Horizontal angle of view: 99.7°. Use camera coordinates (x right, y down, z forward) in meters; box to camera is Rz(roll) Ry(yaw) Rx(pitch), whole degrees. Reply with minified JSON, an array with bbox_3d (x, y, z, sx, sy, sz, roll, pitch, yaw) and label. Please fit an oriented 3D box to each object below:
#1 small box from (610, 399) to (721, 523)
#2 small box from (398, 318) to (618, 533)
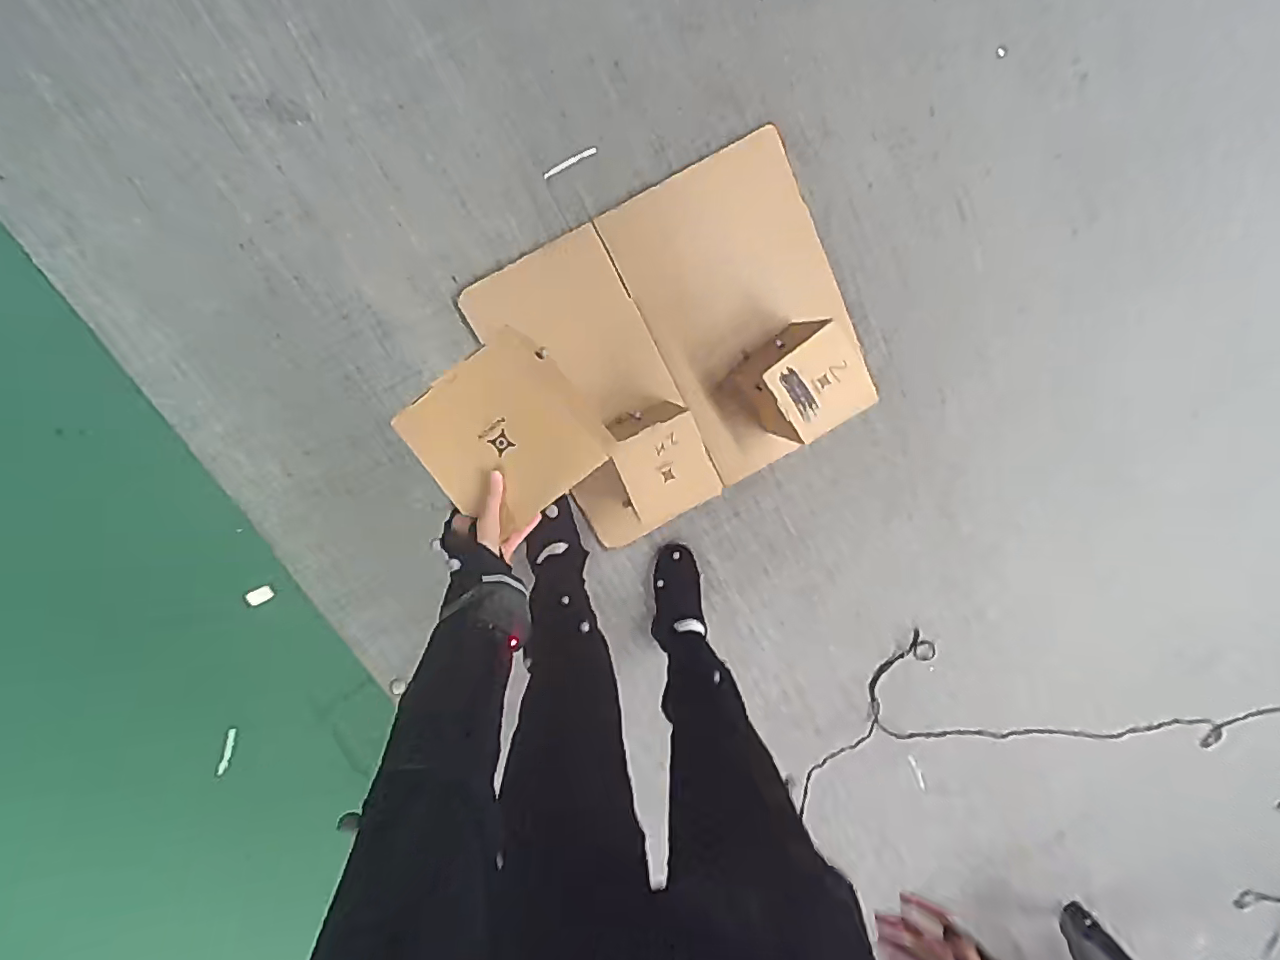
[{"bbox_3d":[0.036,-0.044,1.064,0.168,0.176,0.179,-24,107,-4],"label":"small box"},{"bbox_3d":[-0.141,-0.065,0.654,0.168,0.176,0.179,-36,93,5],"label":"small box"}]
